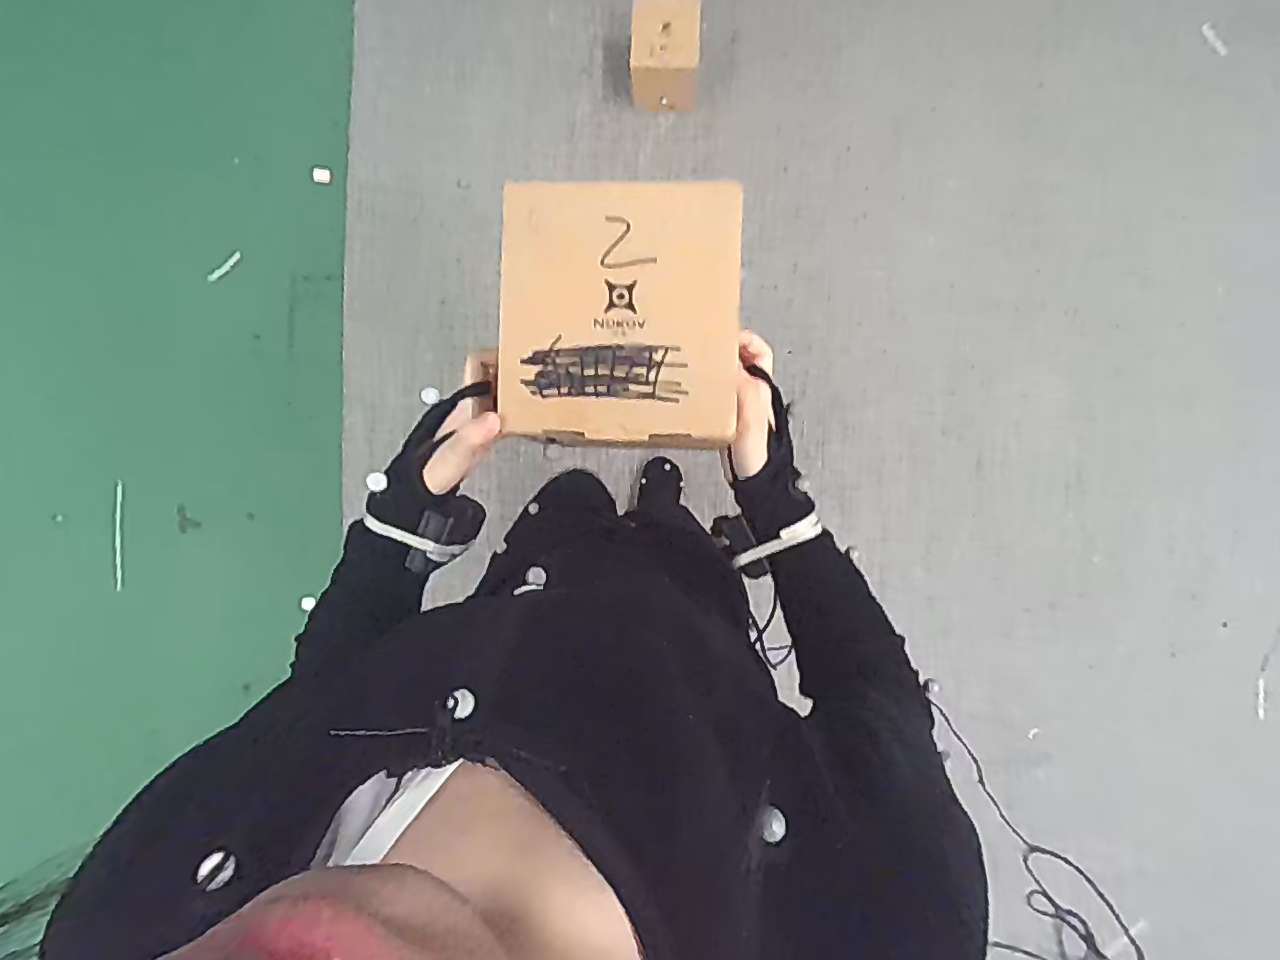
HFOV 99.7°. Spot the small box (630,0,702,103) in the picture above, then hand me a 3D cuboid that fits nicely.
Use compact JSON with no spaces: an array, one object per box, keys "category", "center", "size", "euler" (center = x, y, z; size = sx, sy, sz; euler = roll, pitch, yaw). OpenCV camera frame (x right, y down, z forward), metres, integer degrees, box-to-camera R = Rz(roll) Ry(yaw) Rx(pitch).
[{"category":"small box","center":[0.064,-1.088,1.350],"size":[0.168,0.176,0.179],"euler":[3,94,2]}]
